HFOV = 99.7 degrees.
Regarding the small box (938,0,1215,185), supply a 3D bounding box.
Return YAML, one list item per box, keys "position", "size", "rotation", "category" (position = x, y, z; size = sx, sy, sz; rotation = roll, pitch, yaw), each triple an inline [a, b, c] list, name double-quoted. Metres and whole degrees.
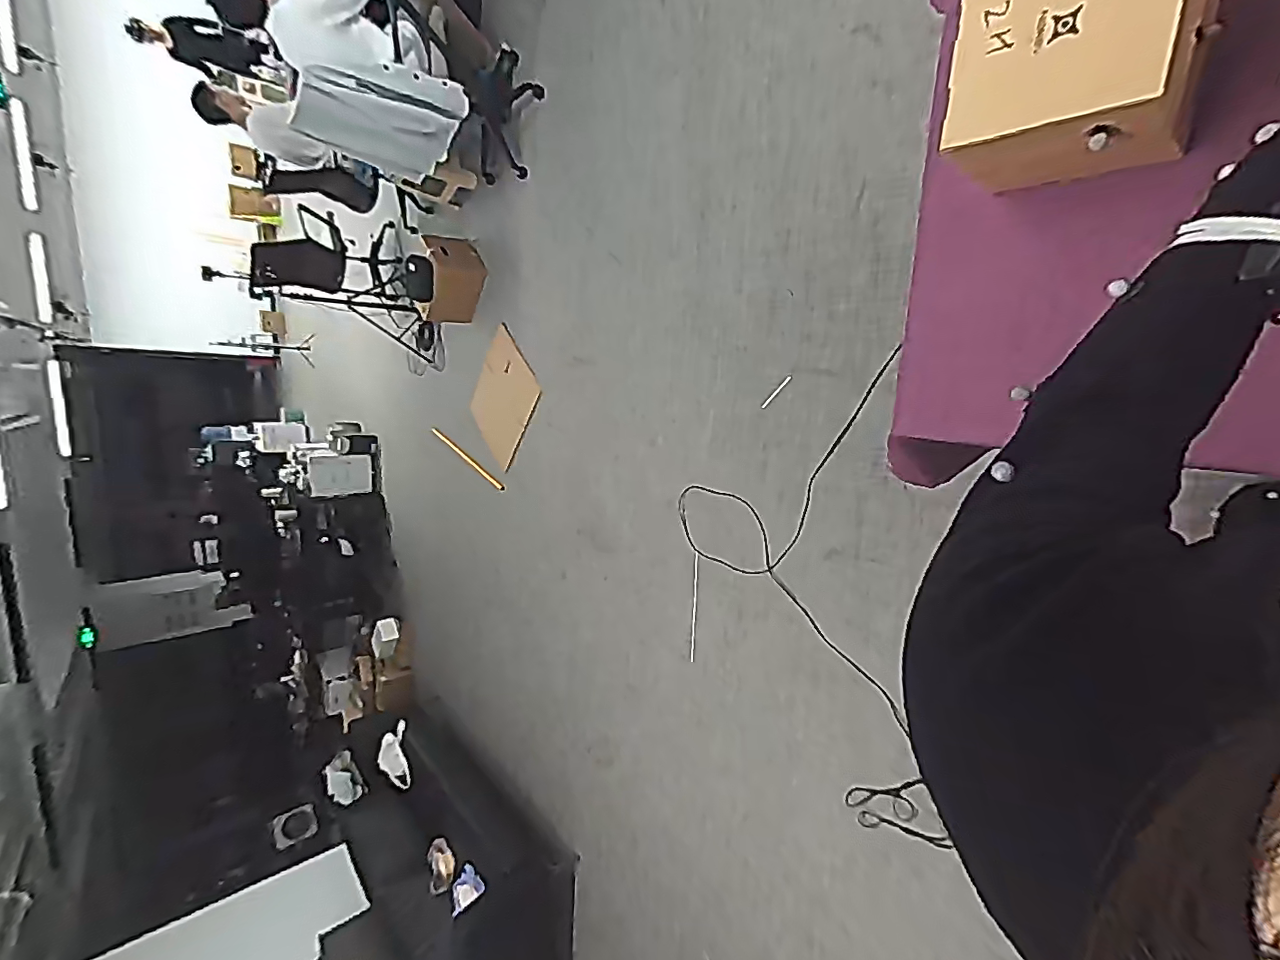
- position: [0.440, -0.422, 0.547]
  size: [0.179, 0.176, 0.168]
  rotation: [17, 107, 48]
  category: "small box"
